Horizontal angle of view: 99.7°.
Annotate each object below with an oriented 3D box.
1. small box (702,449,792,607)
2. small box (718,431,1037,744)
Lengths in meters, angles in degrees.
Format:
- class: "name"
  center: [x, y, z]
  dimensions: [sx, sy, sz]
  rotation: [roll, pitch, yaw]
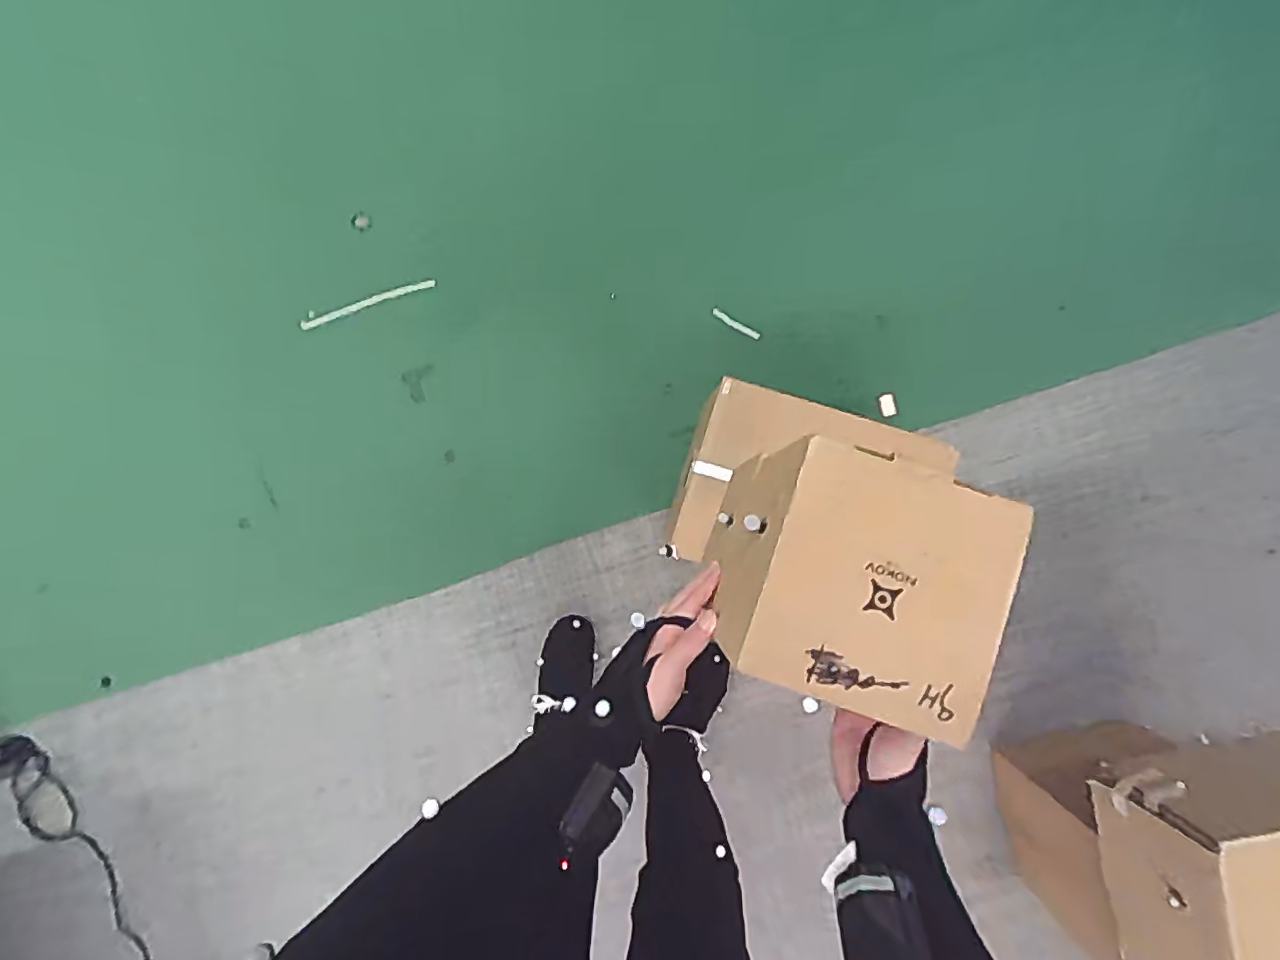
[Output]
- class: "small box"
  center: [0.177, 0.082, 0.617]
  dimensions: [0.168, 0.176, 0.179]
  rotation: [20, 86, 2]
- class: "small box"
  center: [0.175, 0.079, 0.453]
  dimensions: [0.168, 0.176, 0.179]
  rotation: [19, 85, 1]
